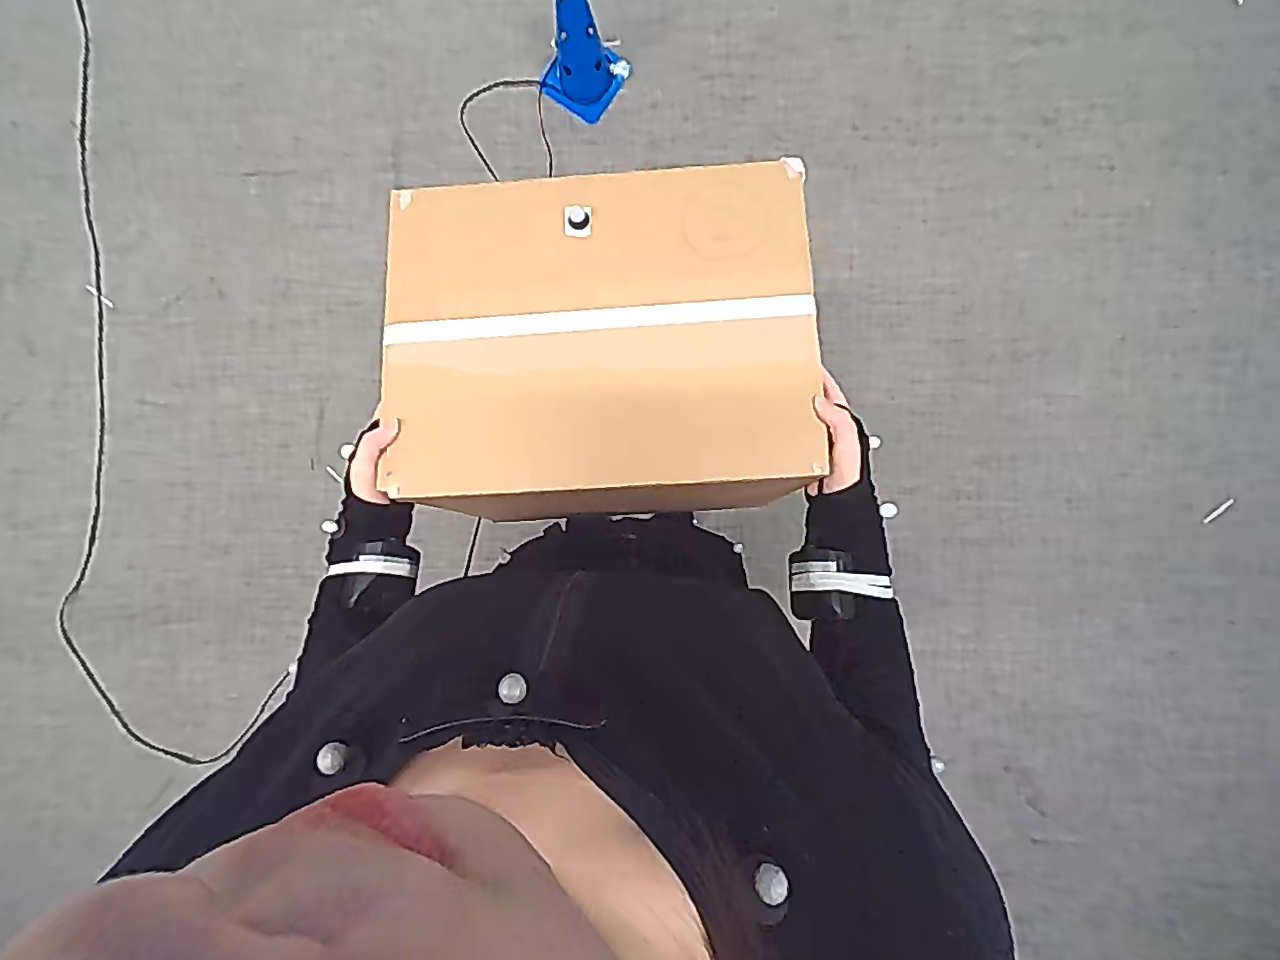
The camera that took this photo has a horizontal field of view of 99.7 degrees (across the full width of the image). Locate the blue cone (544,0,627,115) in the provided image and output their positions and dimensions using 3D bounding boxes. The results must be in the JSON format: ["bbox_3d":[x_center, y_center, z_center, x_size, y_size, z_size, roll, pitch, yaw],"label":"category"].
[{"bbox_3d":[-0.151,-1.110,1.302,0.192,0.380,0.193,33,90,0],"label":"blue cone"}]
